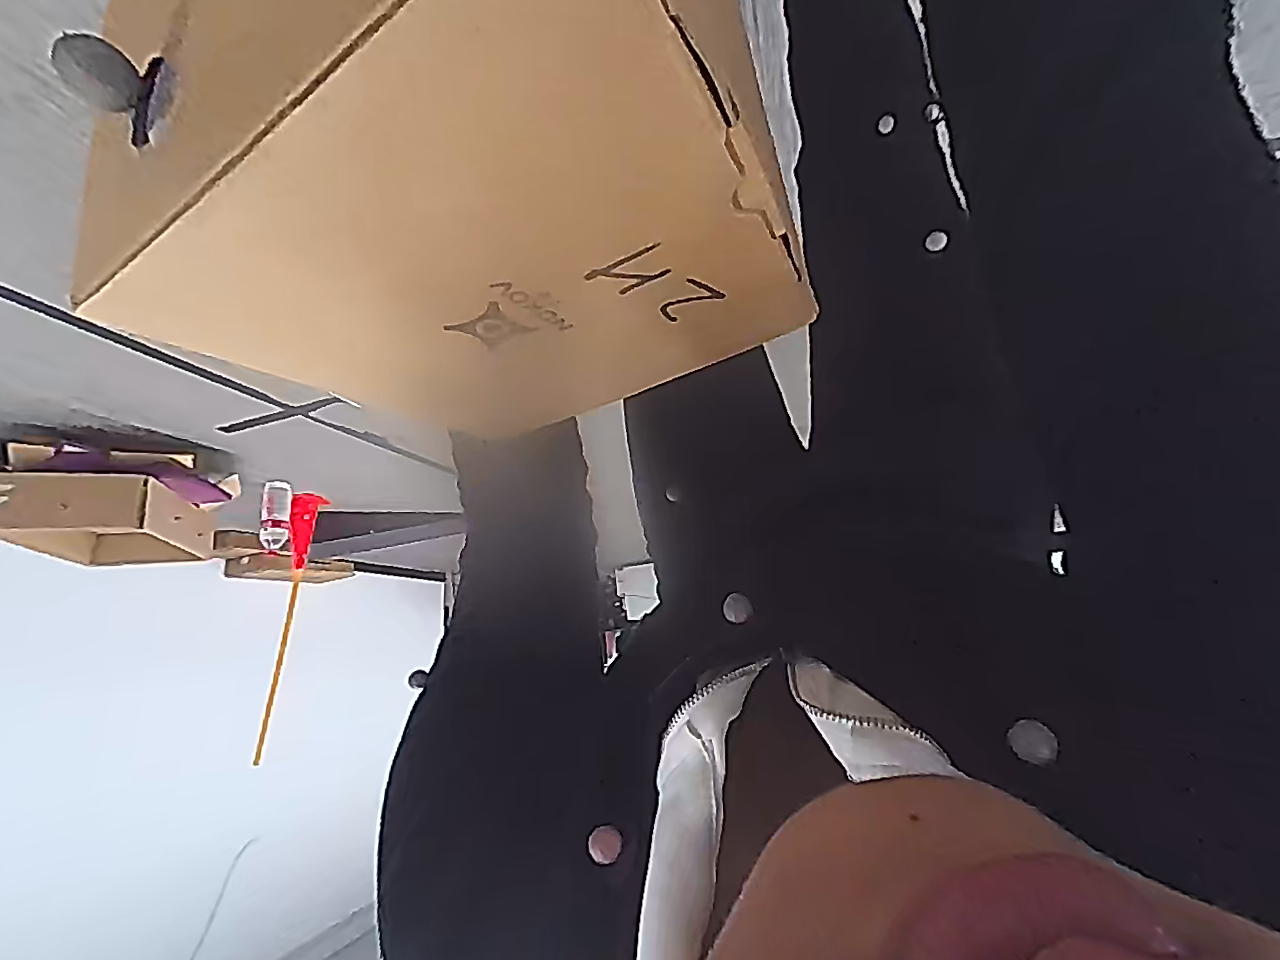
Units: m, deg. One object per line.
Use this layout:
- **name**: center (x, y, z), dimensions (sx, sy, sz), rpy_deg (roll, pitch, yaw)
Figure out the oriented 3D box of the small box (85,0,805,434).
- **small box**: center (-0.057, -0.137, 0.206), dimensions (0.179, 0.176, 0.168), rpy_deg (-17, 164, 26)
